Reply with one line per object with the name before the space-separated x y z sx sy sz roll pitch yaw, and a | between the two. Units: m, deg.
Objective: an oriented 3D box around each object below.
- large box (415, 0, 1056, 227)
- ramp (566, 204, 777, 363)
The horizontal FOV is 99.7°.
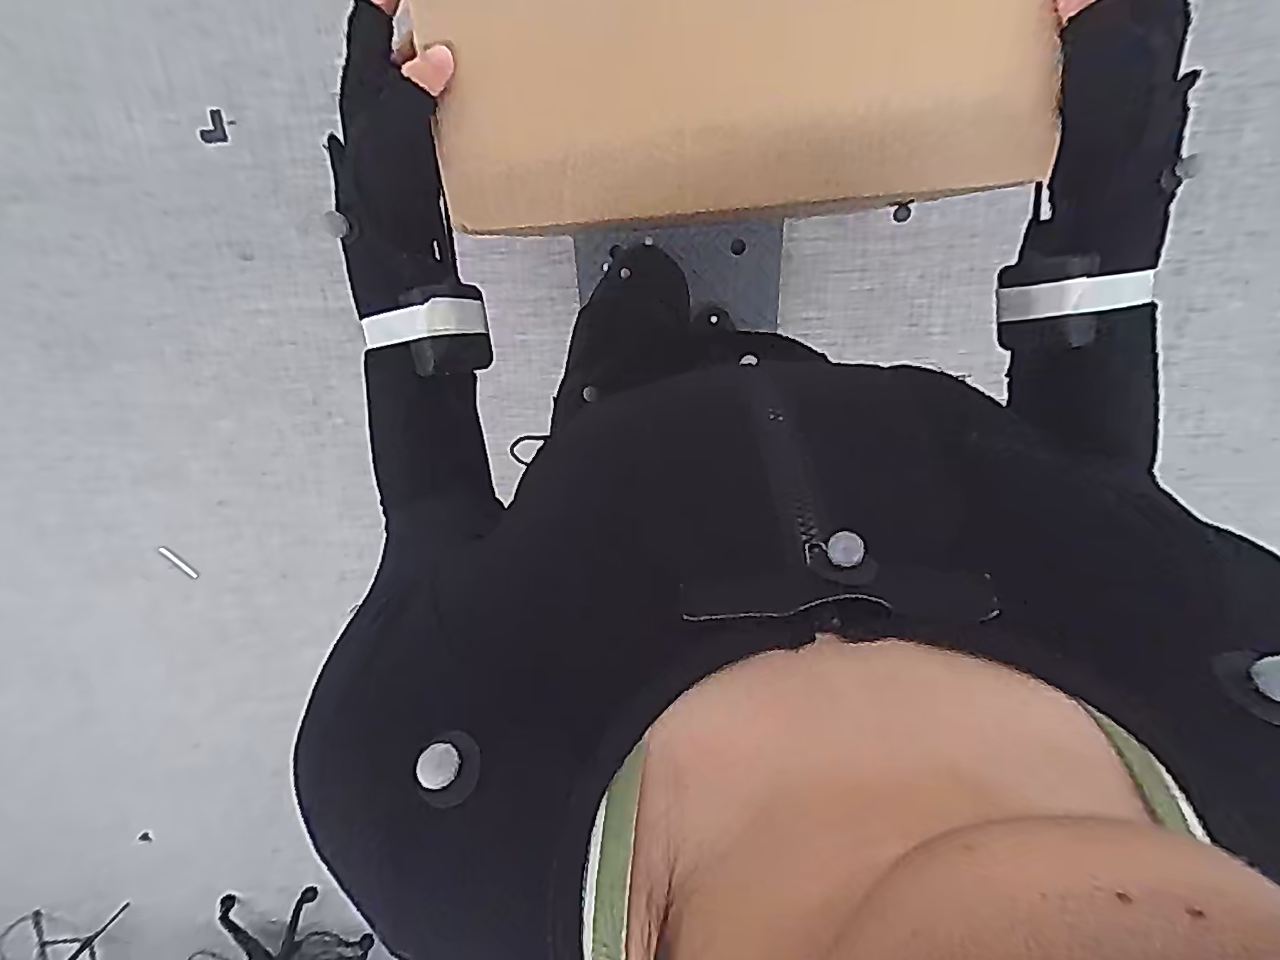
large box | 0.057 -0.398 0.452 0.408 0.320 0.320 -4 113 2
ramp | 0.063 -0.747 1.172 0.509 0.206 0.991 -3 110 3
